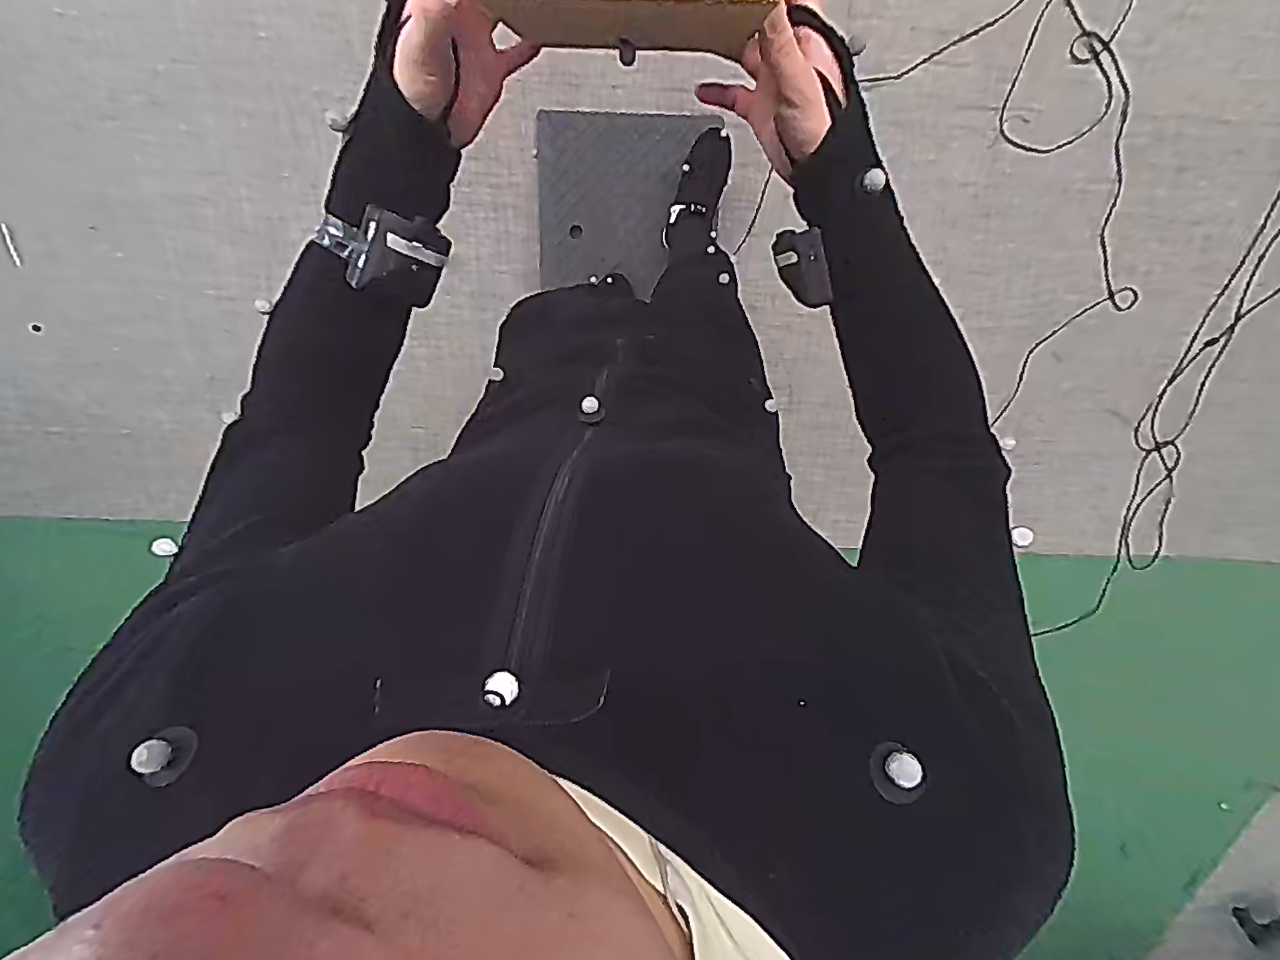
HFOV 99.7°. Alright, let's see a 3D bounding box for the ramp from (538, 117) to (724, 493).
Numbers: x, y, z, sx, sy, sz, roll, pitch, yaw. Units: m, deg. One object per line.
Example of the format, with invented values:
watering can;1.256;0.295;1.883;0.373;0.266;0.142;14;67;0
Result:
ramp;-0.036;-0.451;1.515;0.509;0.206;0.991;0;113;1
